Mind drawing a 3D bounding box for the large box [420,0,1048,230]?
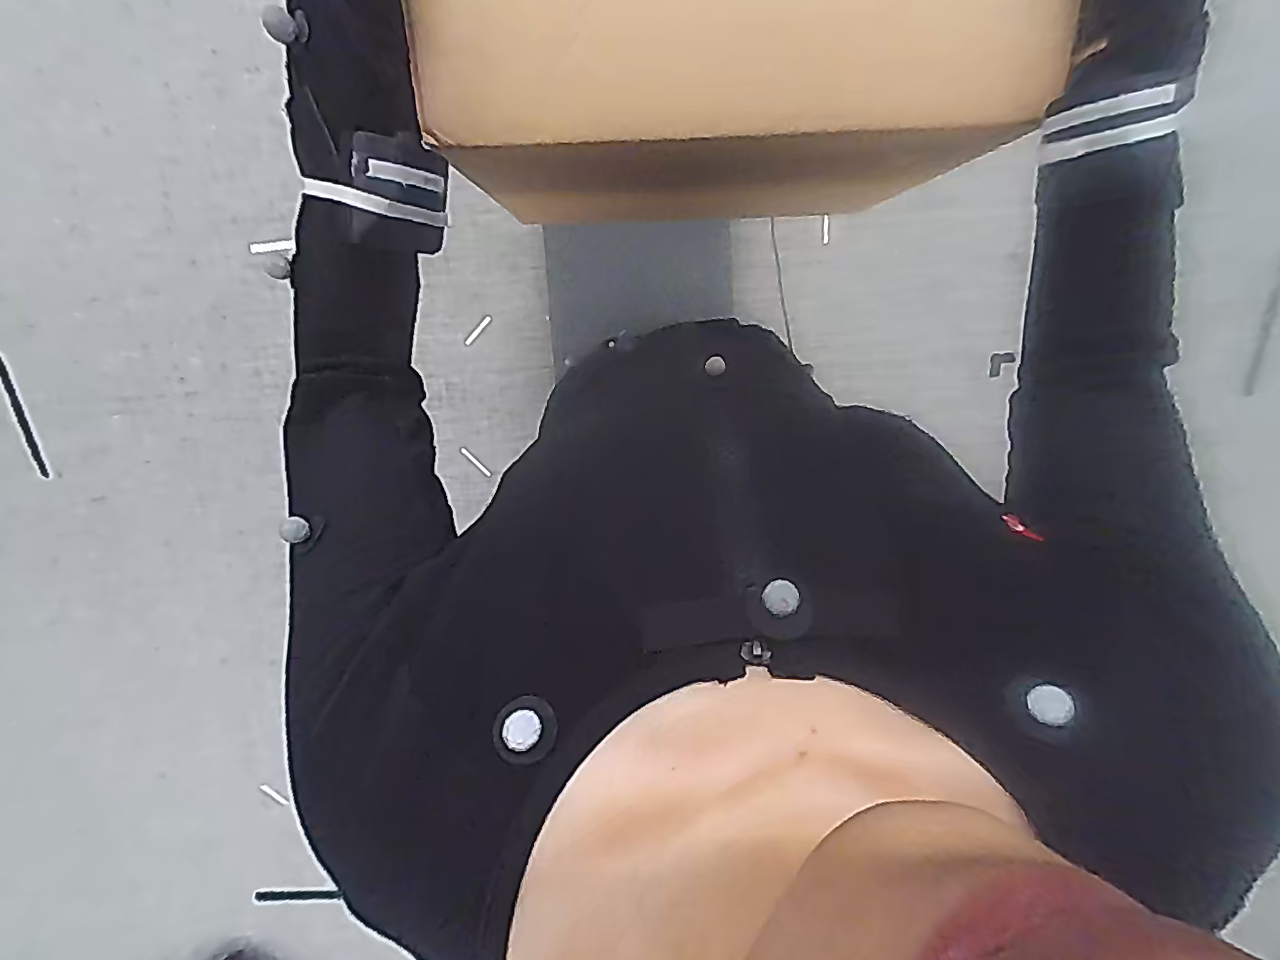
[{"bbox_3d":[0.052,-0.416,0.461,0.408,0.320,0.320,-3,107,0],"label":"large box"}]
